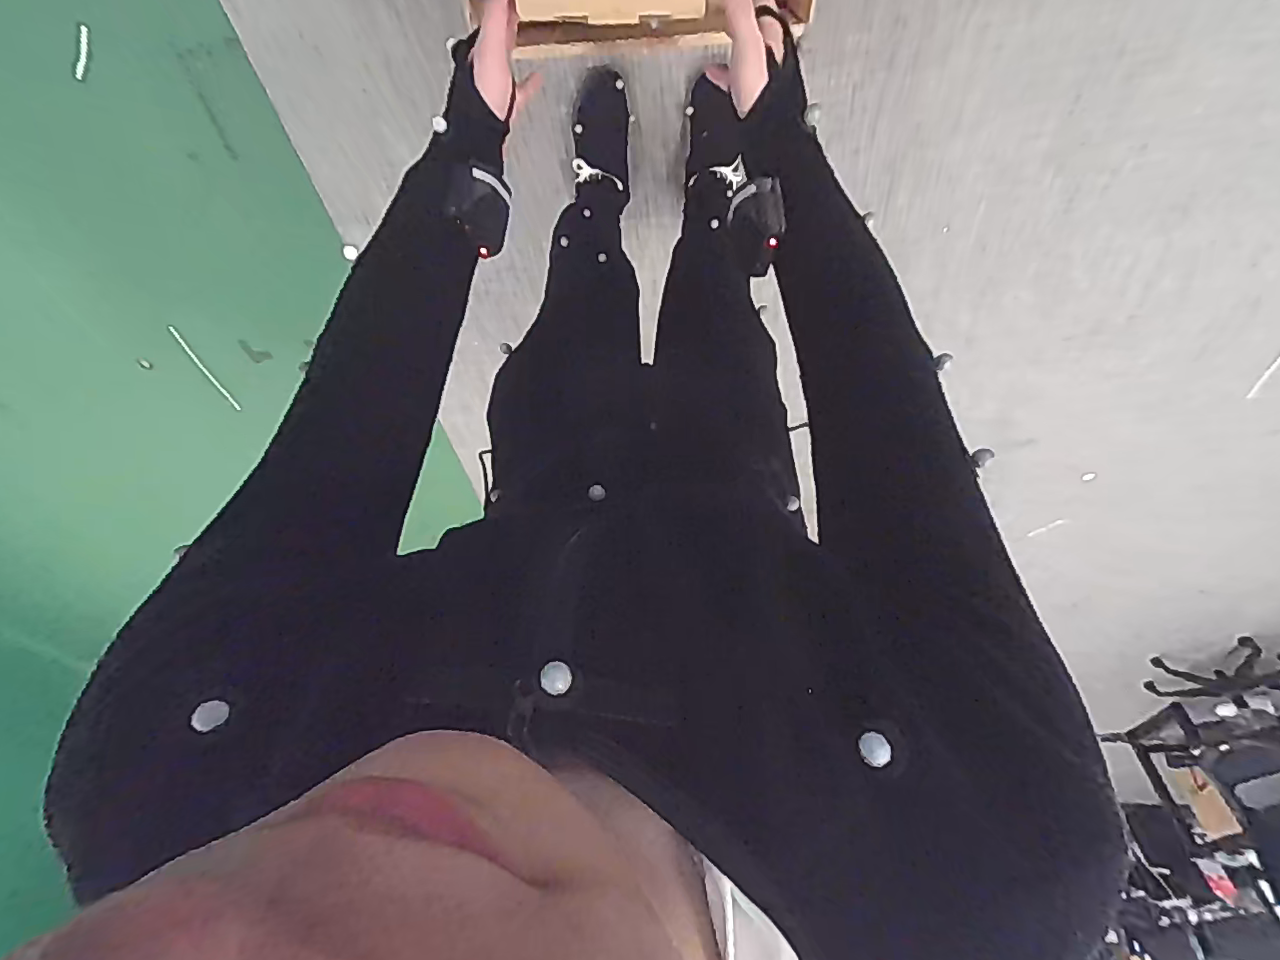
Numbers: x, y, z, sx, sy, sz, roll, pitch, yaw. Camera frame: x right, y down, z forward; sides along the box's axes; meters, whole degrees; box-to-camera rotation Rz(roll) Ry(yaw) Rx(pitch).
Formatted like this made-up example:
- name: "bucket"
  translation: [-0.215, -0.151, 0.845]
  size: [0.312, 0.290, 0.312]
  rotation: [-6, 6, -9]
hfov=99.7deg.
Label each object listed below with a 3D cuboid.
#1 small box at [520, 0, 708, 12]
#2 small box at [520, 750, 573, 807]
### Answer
- name: "small box"
  translation: [-0.019, -0.519, 0.450]
  size: [0.168, 0.176, 0.179]
  rotation: [1, 138, 1]
- name: "small box"
  translation: [-0.368, 1.188, 2.159]
  size: [0.168, 0.176, 0.179]
  rotation: [-3, 135, 6]
